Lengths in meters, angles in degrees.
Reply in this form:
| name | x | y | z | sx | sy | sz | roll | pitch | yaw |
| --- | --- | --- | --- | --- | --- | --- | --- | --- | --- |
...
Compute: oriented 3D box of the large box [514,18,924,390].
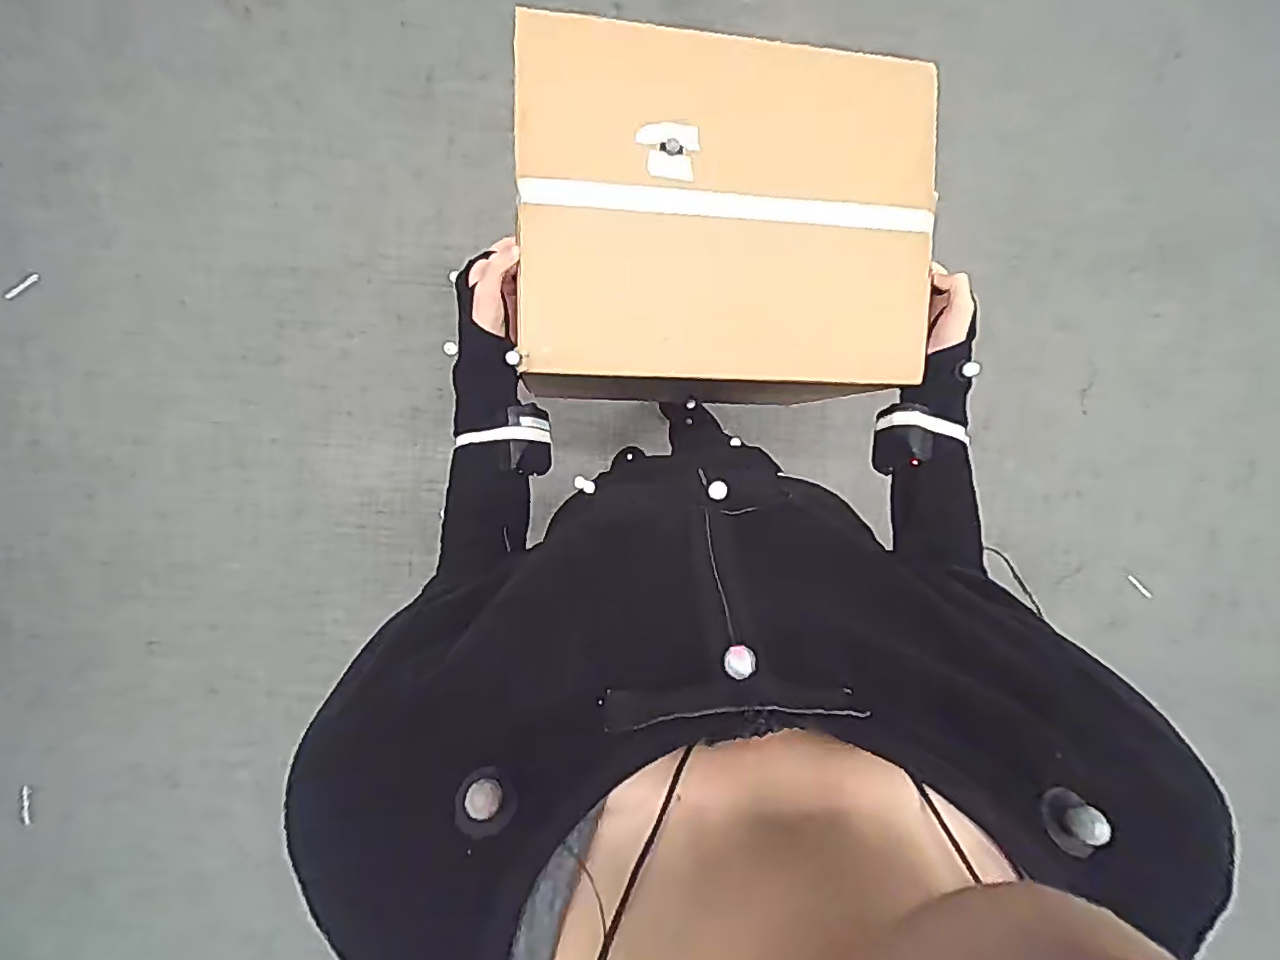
| name | x | y | z | sx | sy | sz | roll | pitch | yaw |
| --- | --- | --- | --- | --- | --- | --- | --- | --- | --- |
| large box | 0.064 | -0.275 | 0.666 | 0.408 | 0.320 | 0.320 | 0 | 94 | -8 |
